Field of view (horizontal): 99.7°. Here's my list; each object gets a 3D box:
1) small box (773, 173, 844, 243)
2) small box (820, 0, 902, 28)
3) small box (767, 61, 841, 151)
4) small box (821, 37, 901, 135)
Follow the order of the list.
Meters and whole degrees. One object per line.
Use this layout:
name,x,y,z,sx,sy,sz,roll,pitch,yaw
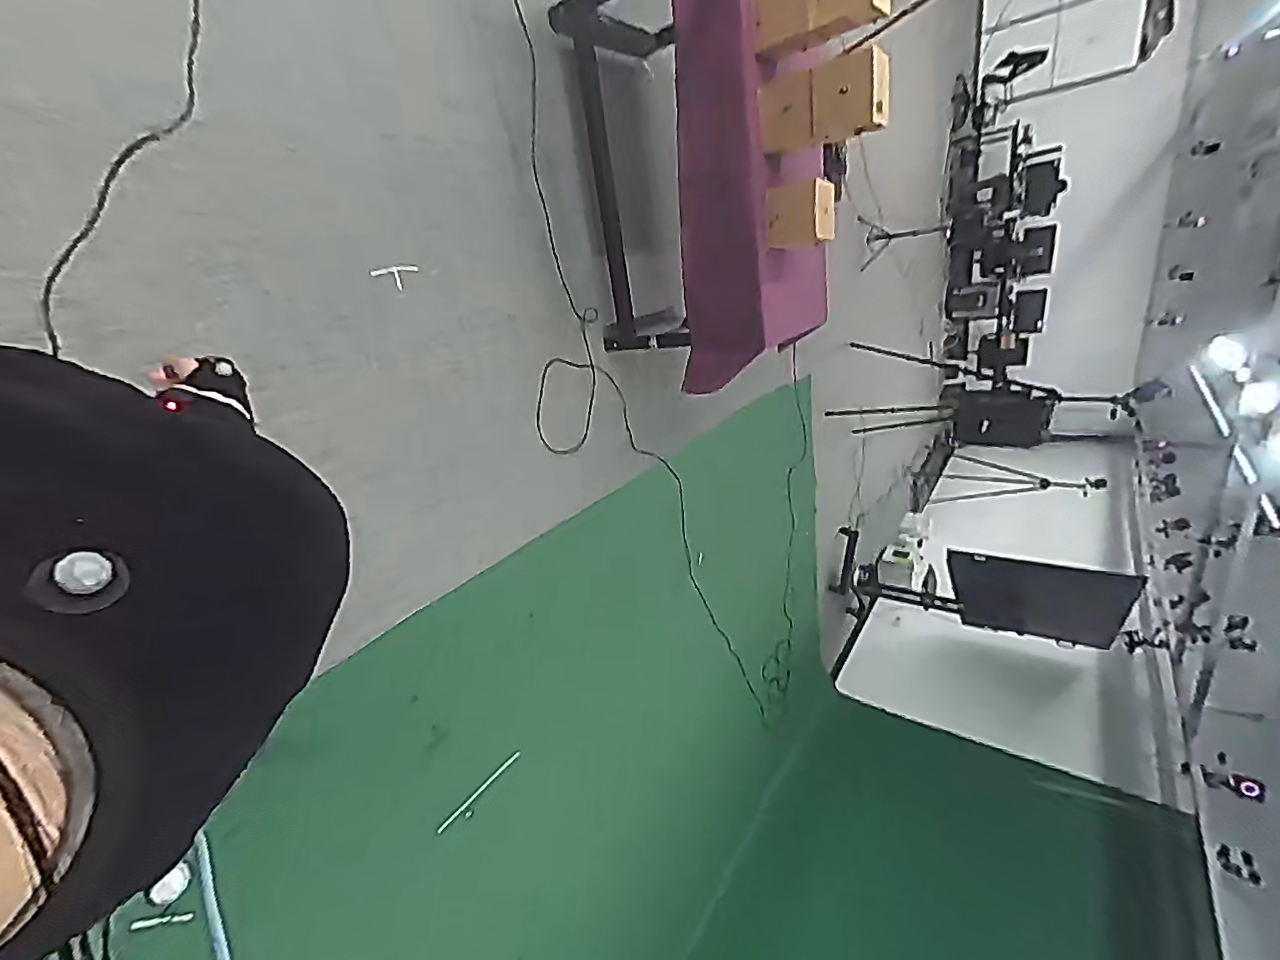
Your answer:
small box,0.534,-0.855,1.716,0.179,0.176,0.168,-25,116,-48
small box,0.582,-1.332,1.427,0.179,0.176,0.168,-38,125,-44
small box,0.490,-1.109,1.616,0.168,0.176,0.179,-33,121,-44
small box,0.616,-1.088,1.512,0.168,0.176,0.179,-32,120,-46
